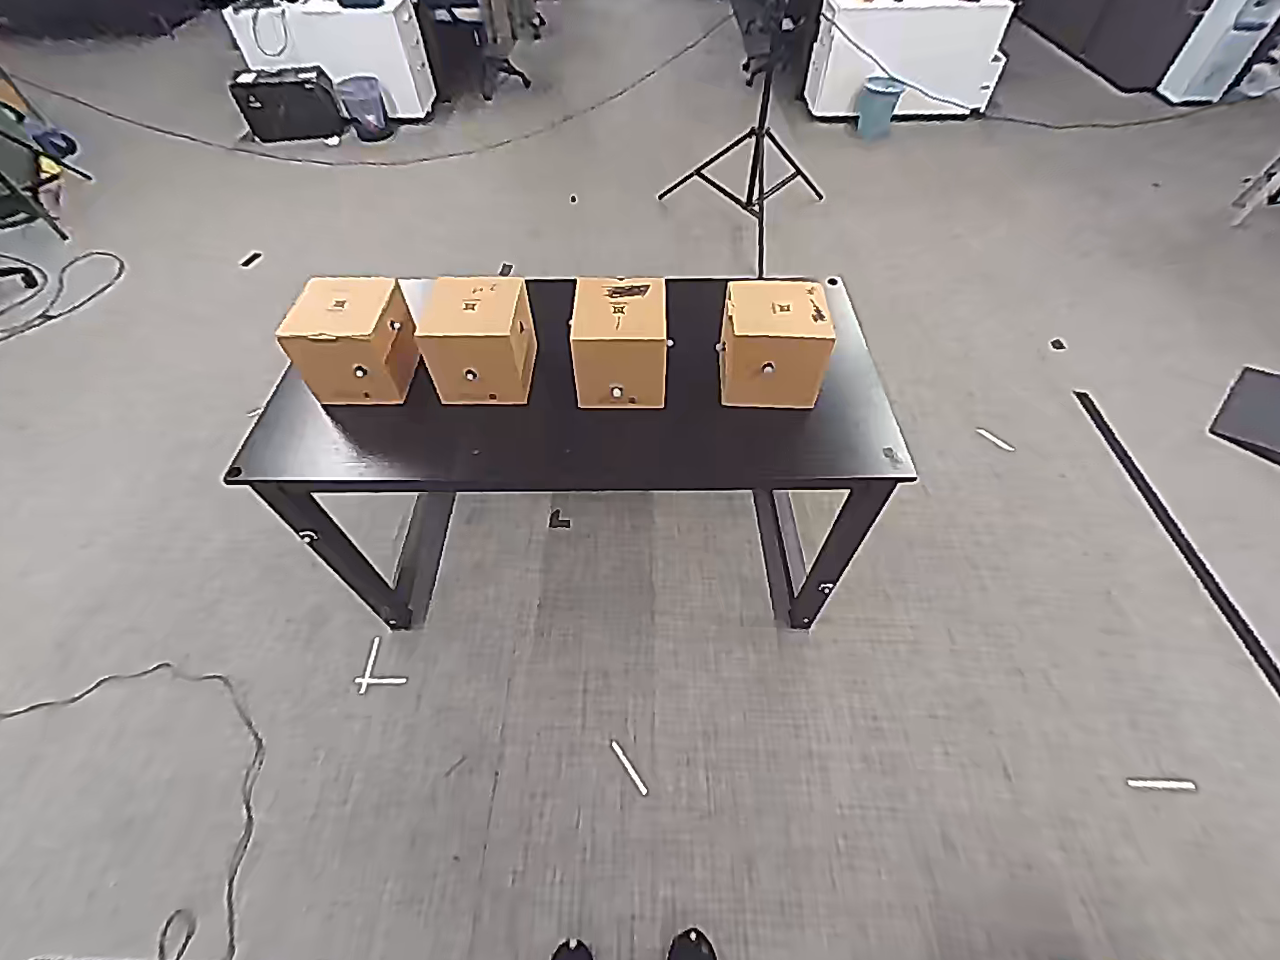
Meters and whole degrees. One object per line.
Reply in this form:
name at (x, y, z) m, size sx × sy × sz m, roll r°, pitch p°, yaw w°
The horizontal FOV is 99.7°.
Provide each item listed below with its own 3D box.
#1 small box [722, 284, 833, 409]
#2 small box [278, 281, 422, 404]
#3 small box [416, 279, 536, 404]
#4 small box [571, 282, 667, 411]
small box at (0.246, -0.248, 1.019) m, size 0.179 × 0.176 × 0.168 m, roll 2°, pitch 53°, yaw 3°
small box at (-0.539, -0.260, 1.038) m, size 0.168 × 0.176 × 0.179 m, roll 0°, pitch 52°, yaw -1°
small box at (-0.300, -0.260, 1.033) m, size 0.168 × 0.176 × 0.179 m, roll 1°, pitch 53°, yaw 0°
small box at (-0.035, -0.252, 1.024) m, size 0.168 × 0.176 × 0.179 m, roll 0°, pitch 53°, yaw 1°
